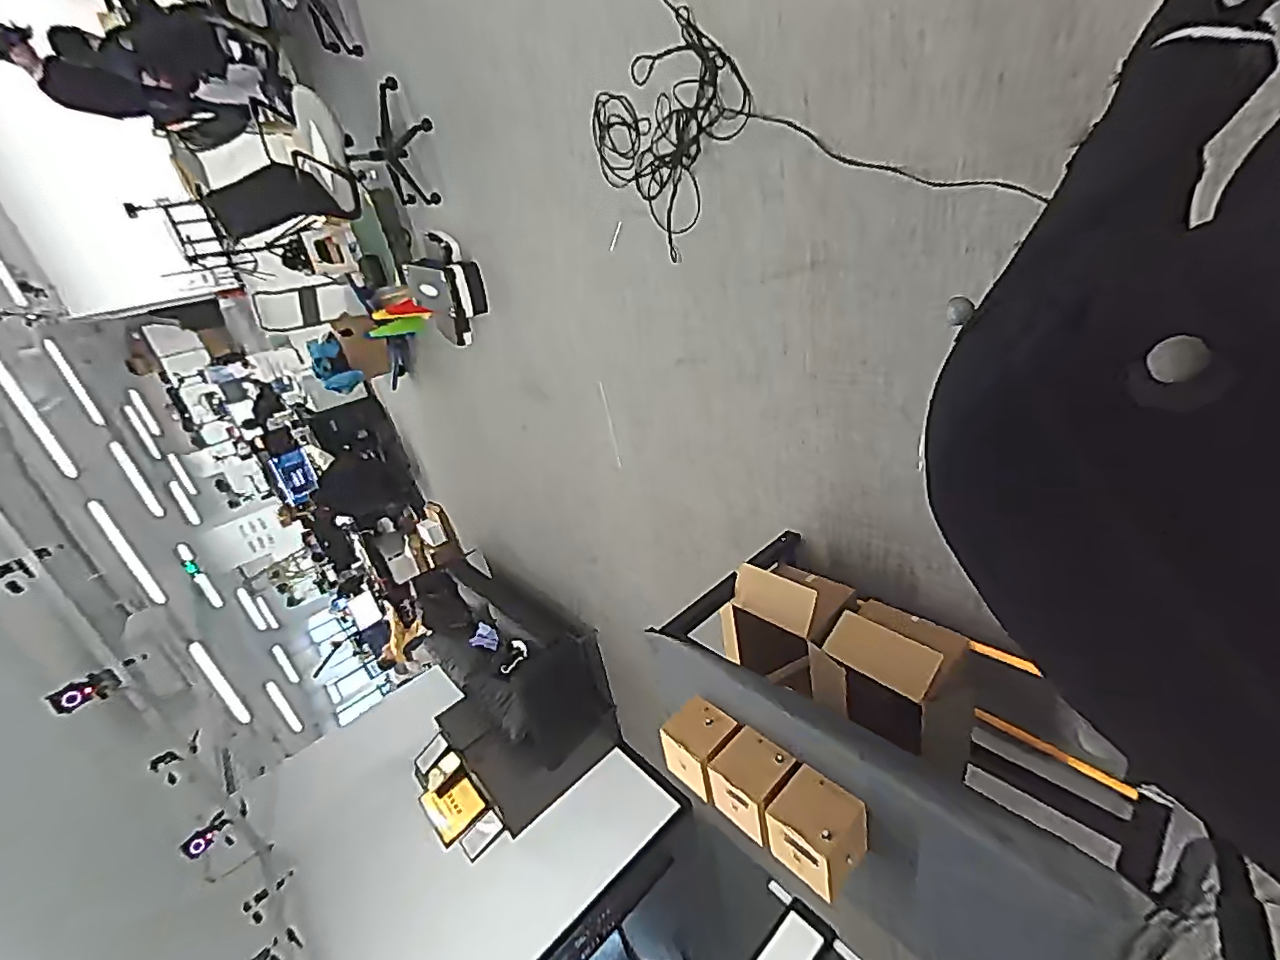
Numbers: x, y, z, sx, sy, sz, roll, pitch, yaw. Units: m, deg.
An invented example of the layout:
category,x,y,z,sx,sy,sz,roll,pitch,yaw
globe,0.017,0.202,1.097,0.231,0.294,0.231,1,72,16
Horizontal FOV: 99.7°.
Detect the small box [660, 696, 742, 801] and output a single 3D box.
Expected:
category,x,y,z,sx,sy,sz,roll,pitch,yaw
small box,0.185,0.784,1.593,0.168,0.176,0.179,19,128,46
